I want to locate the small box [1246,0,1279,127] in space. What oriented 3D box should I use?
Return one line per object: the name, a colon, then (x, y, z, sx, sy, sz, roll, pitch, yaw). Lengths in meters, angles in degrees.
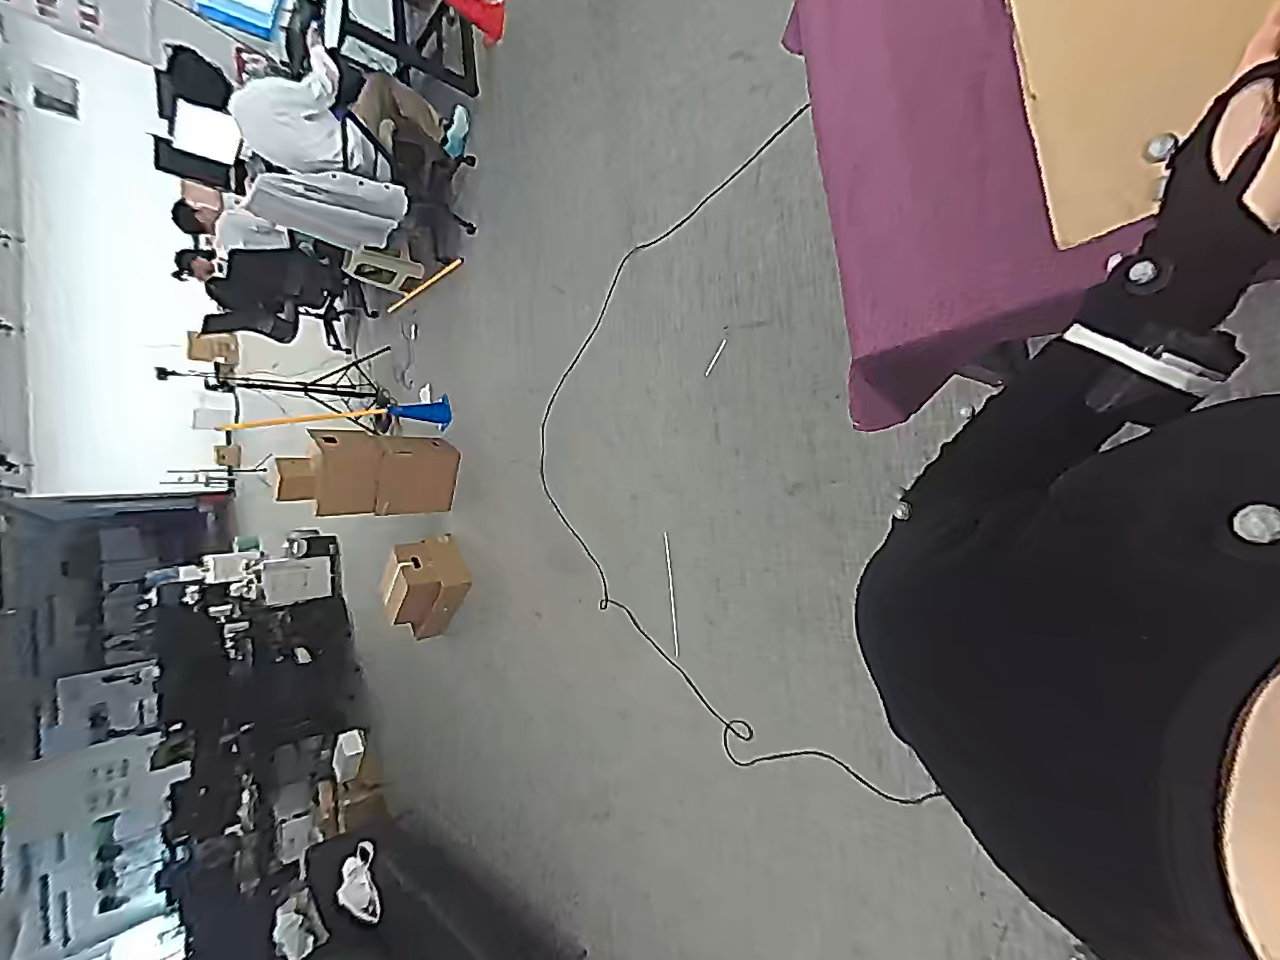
small box: (0.416, -0.294, 0.220, 0.179, 0.168, 0.176, 13, 77, 34)
